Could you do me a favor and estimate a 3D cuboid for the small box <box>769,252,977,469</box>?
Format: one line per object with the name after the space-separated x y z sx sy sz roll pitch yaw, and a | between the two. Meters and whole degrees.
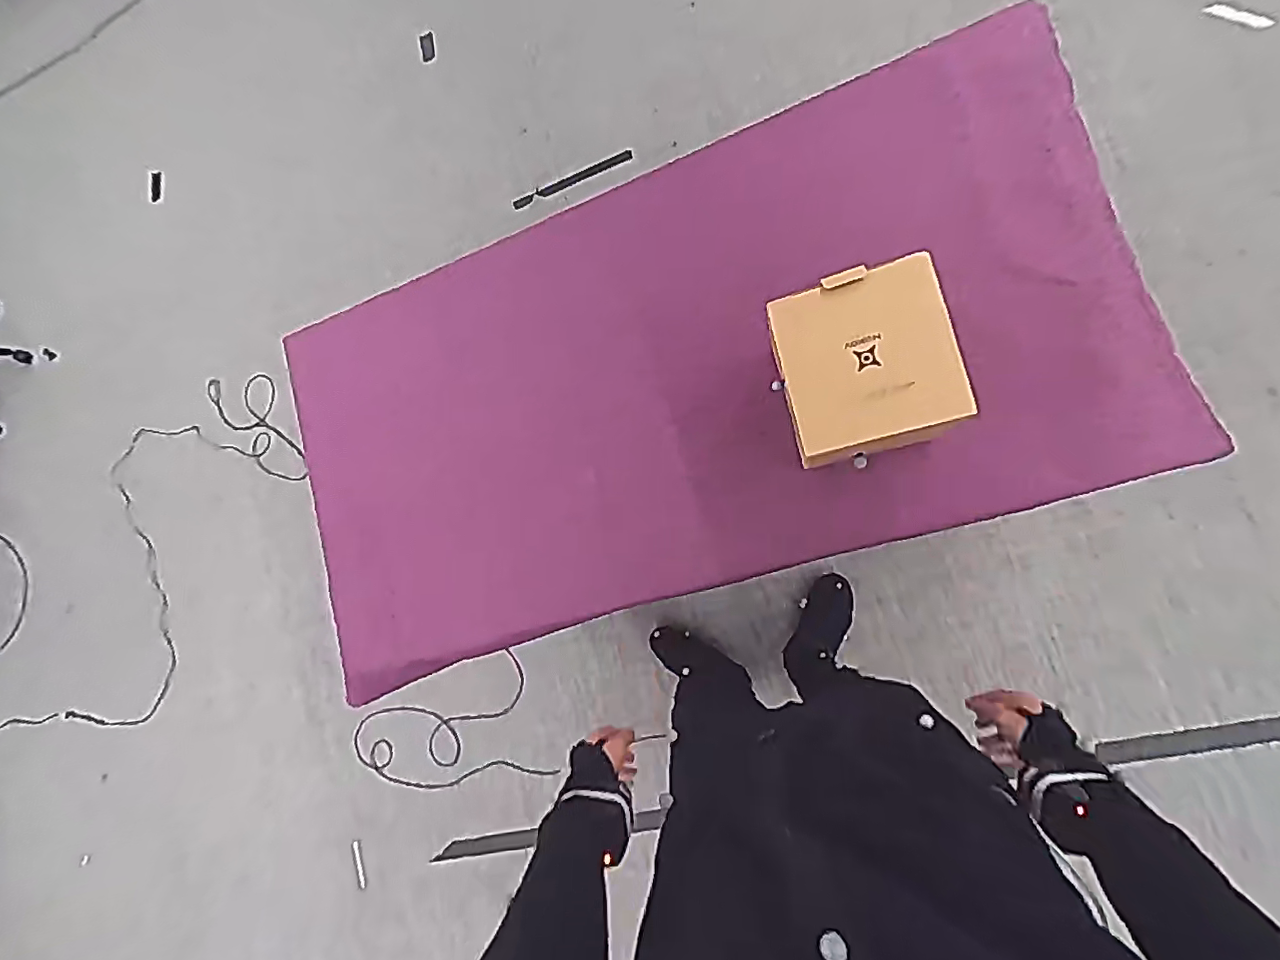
0.250 -0.120 0.619 0.168 0.176 0.179 -14 82 16 | small box
